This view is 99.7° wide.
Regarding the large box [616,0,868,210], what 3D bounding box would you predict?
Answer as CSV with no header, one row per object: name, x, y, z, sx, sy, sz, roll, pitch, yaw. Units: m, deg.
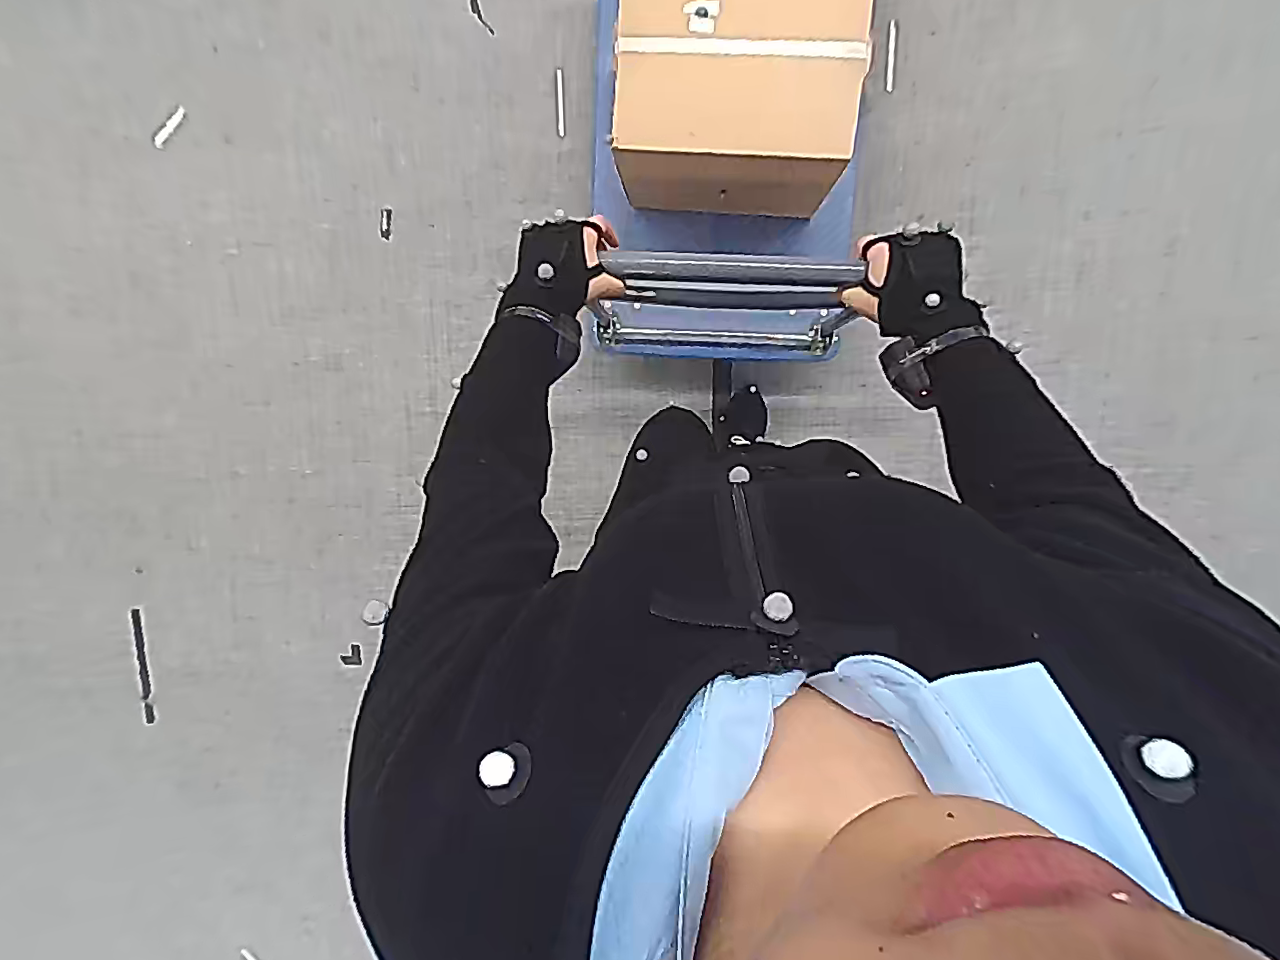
large box,0.182,-0.733,1.040,0.408,0.320,0.320,5,99,5
